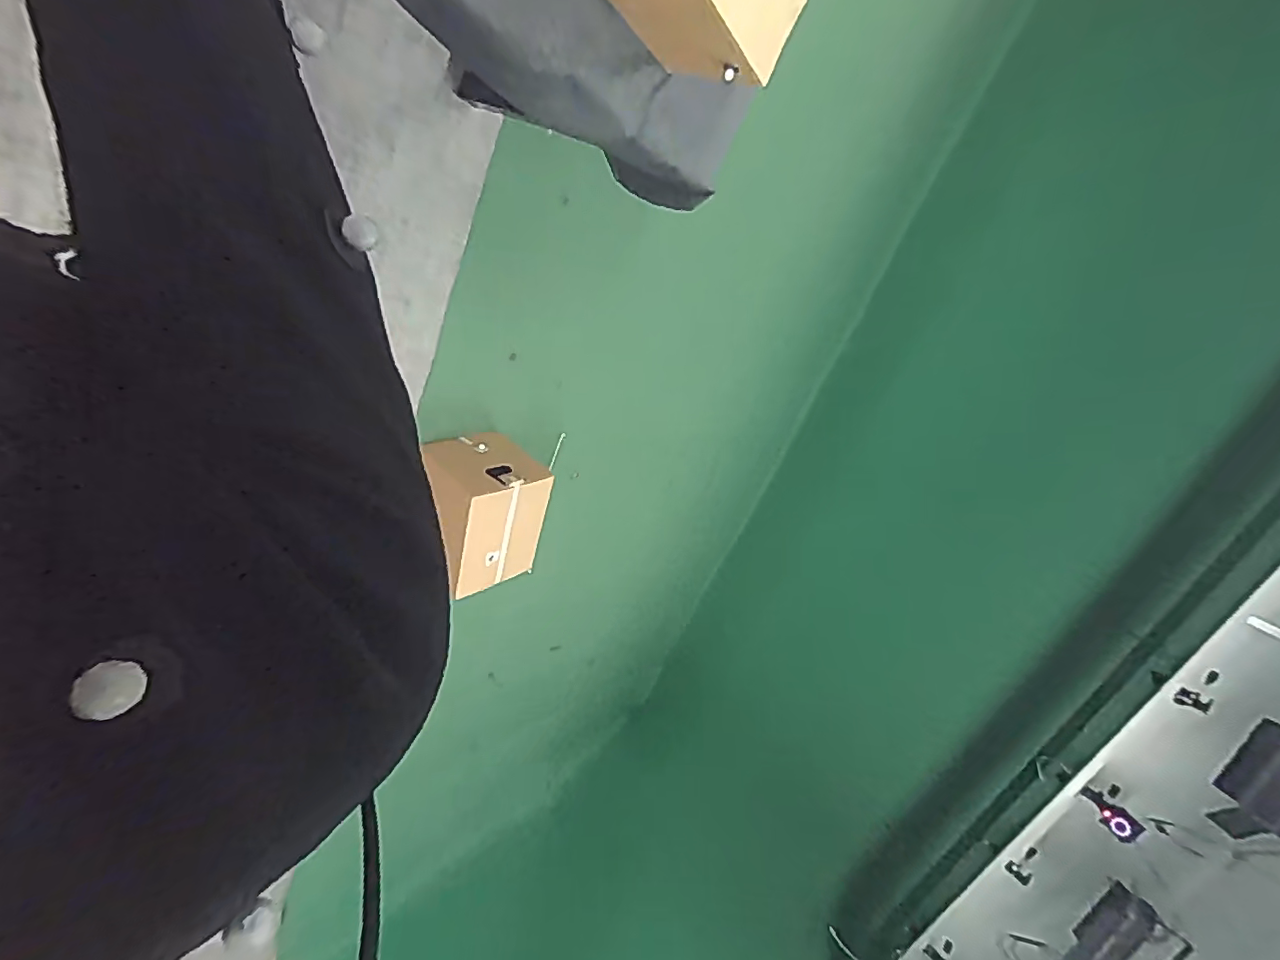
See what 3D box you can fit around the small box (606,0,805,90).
[{"bbox_3d":[0.079,-0.589,0.616,0.179,0.176,0.168,-1,121,-56],"label":"small box"}]
